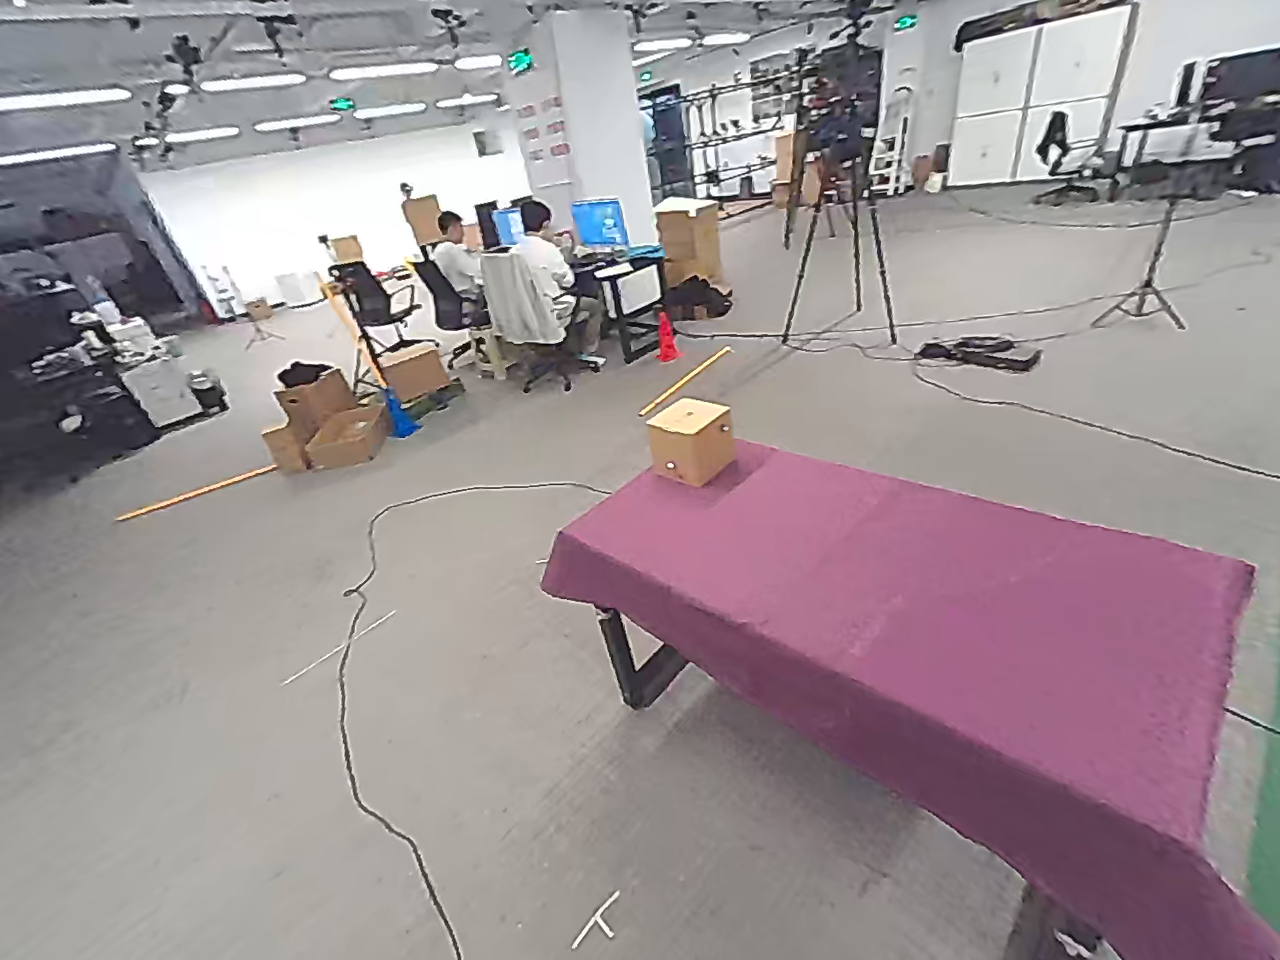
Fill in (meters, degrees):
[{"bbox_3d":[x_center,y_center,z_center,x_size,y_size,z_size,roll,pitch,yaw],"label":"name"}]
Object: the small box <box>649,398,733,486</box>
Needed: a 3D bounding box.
[{"bbox_3d":[0.149,-0.110,1.525,0.168,0.176,0.179,20,44,41],"label":"small box"}]
